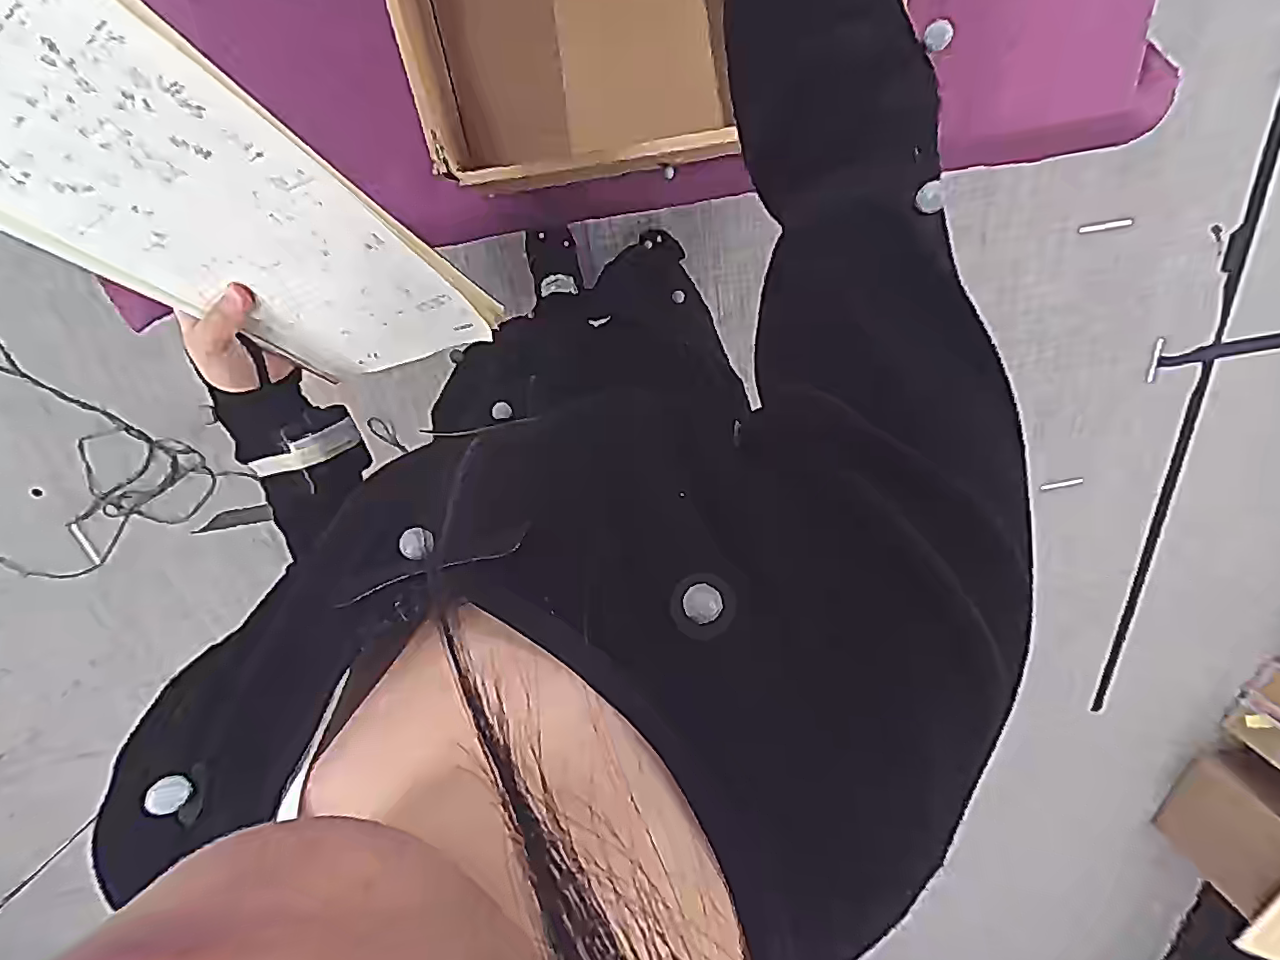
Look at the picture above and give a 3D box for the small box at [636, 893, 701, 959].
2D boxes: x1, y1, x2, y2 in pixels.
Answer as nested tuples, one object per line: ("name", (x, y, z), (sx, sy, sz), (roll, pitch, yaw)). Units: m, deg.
("small box", (0.085, 1.420, 1.663), (0.179, 0.176, 0.168), (-8, 117, -6))
